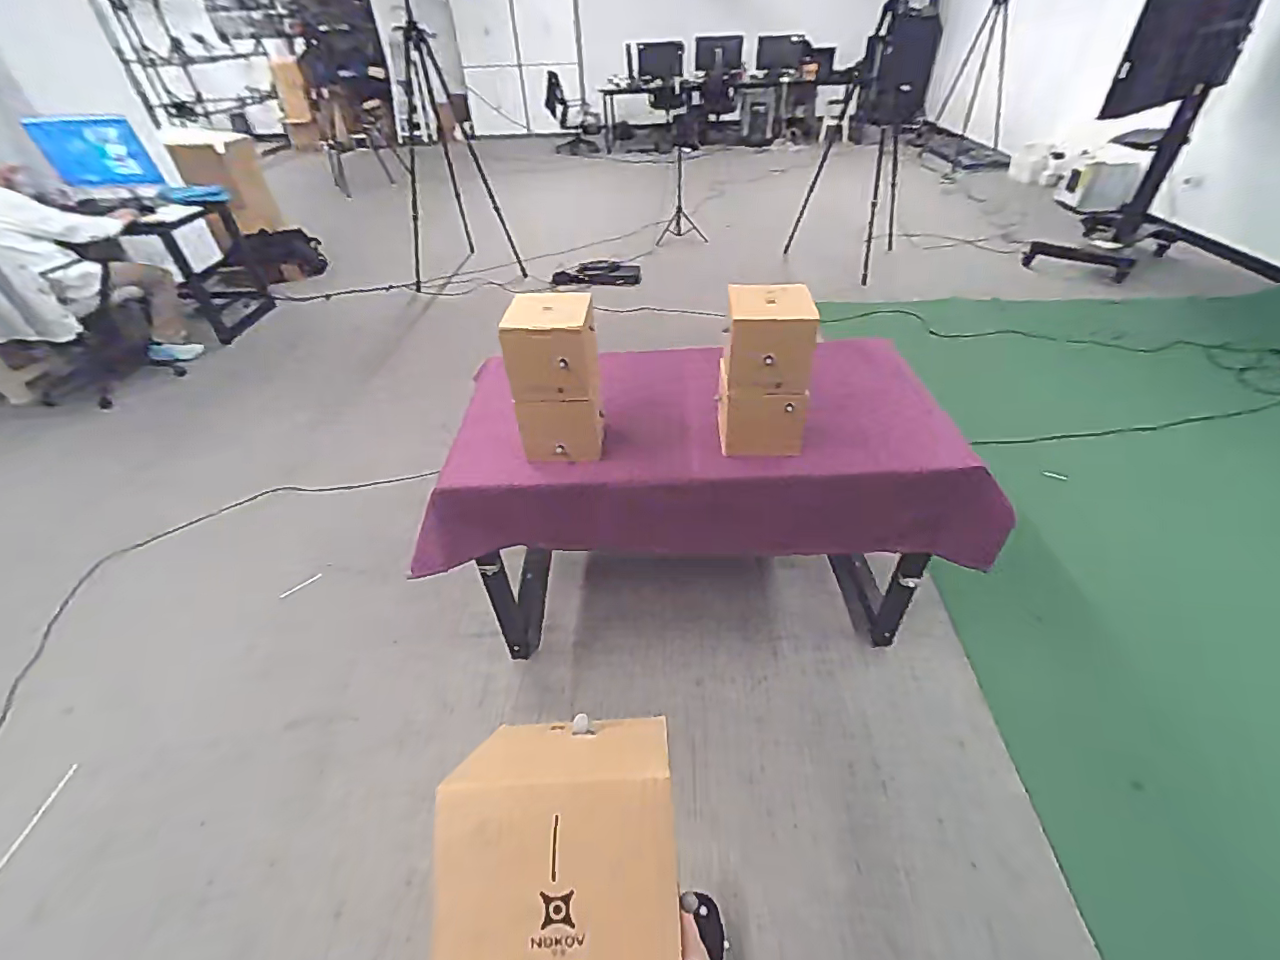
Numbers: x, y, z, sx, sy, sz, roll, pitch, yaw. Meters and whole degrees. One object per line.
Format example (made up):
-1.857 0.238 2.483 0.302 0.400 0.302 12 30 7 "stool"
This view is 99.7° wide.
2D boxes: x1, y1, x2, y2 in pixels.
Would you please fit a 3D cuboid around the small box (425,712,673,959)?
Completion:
-0.059 0.303 0.440 0.168 0.176 0.179 -4 78 1 "small box"

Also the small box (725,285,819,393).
0.269 -0.295 1.139 0.168 0.176 0.179 2 41 5 "small box"

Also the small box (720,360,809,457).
0.276 -0.166 1.241 0.179 0.176 0.168 0 41 3 "small box"

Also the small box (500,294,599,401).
-0.182 -0.280 1.154 0.168 0.176 0.179 1 40 4 "small box"

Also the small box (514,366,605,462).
-0.176 -0.153 1.256 0.179 0.176 0.168 0 40 3 "small box"
